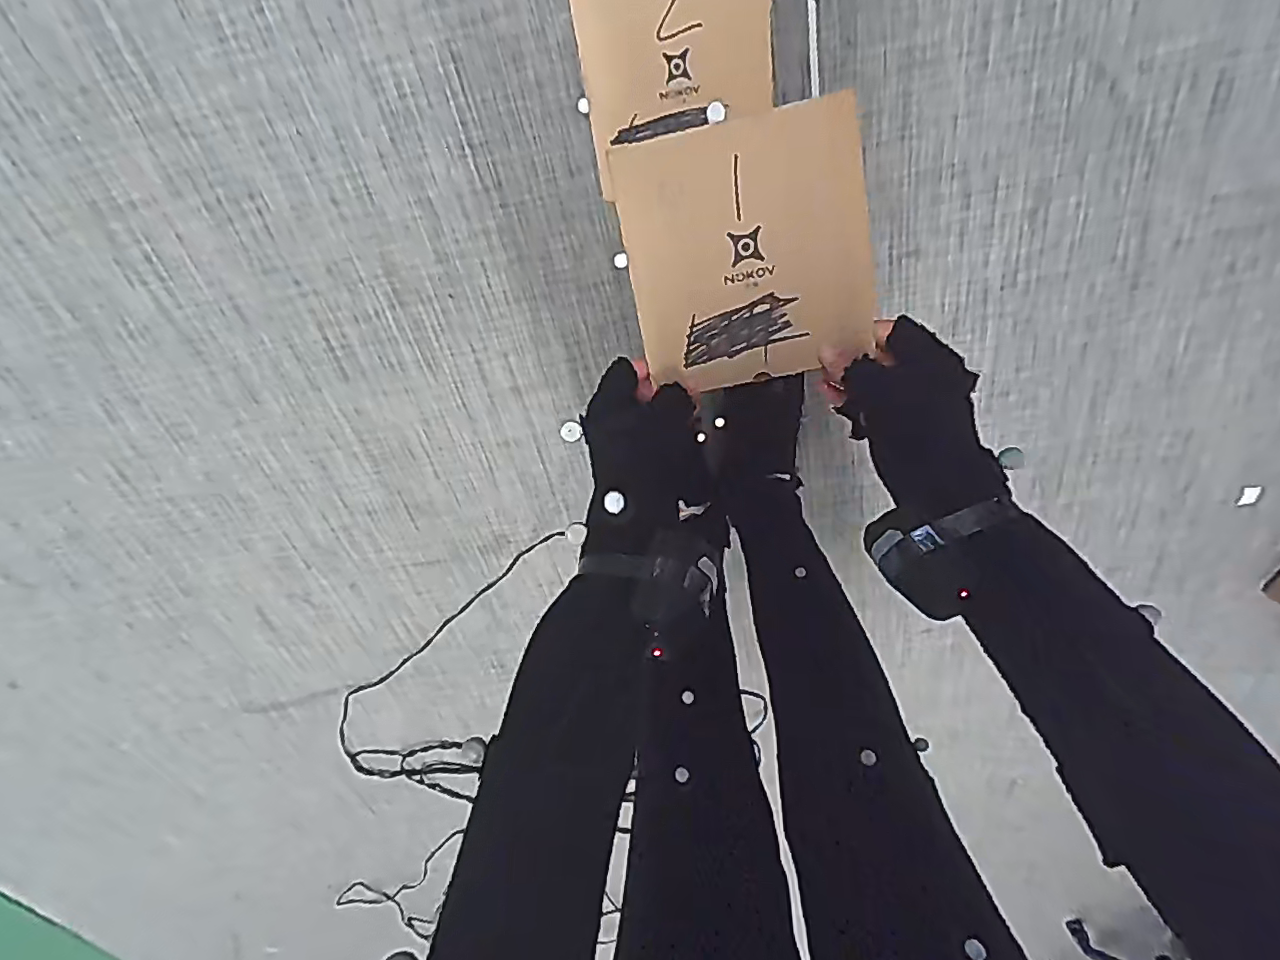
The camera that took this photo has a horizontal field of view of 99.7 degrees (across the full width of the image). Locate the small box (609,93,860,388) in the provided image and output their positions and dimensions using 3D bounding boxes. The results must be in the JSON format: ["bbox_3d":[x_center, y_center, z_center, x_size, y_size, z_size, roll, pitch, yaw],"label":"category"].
[{"bbox_3d":[0.077,-0.200,0.460,0.168,0.176,0.179,-9,119,7],"label":"small box"}]
